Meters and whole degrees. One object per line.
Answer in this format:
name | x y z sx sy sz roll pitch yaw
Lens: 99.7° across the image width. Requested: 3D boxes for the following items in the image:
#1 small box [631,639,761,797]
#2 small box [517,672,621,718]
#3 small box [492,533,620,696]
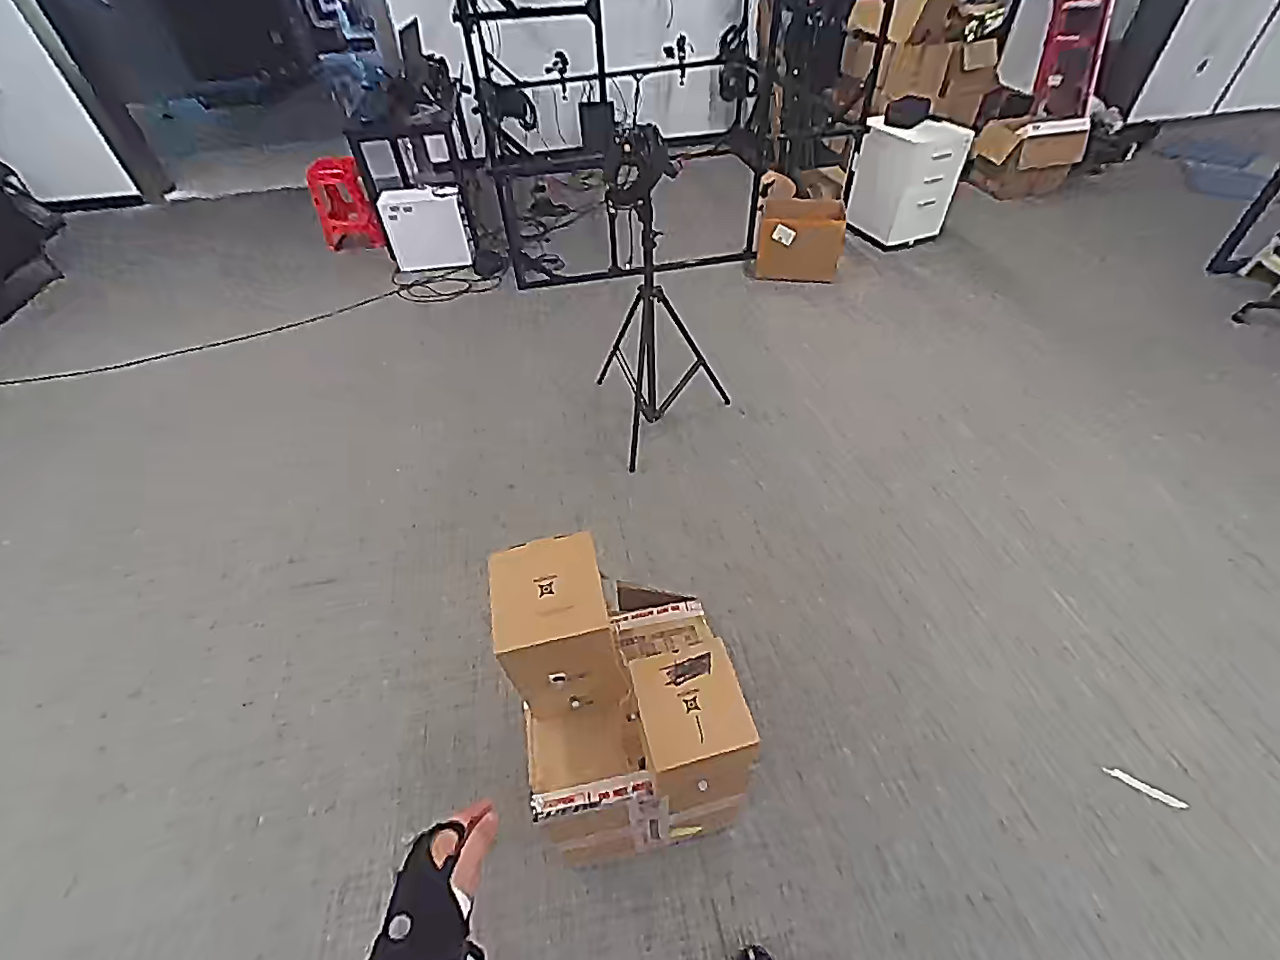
small box | 0.083 0.398 0.904 0.168 0.176 0.179 -12 50 -8
small box | -0.134 0.309 0.996 0.168 0.176 0.179 -12 49 -6
small box | -0.132 0.215 0.862 0.168 0.176 0.179 -13 50 -6
